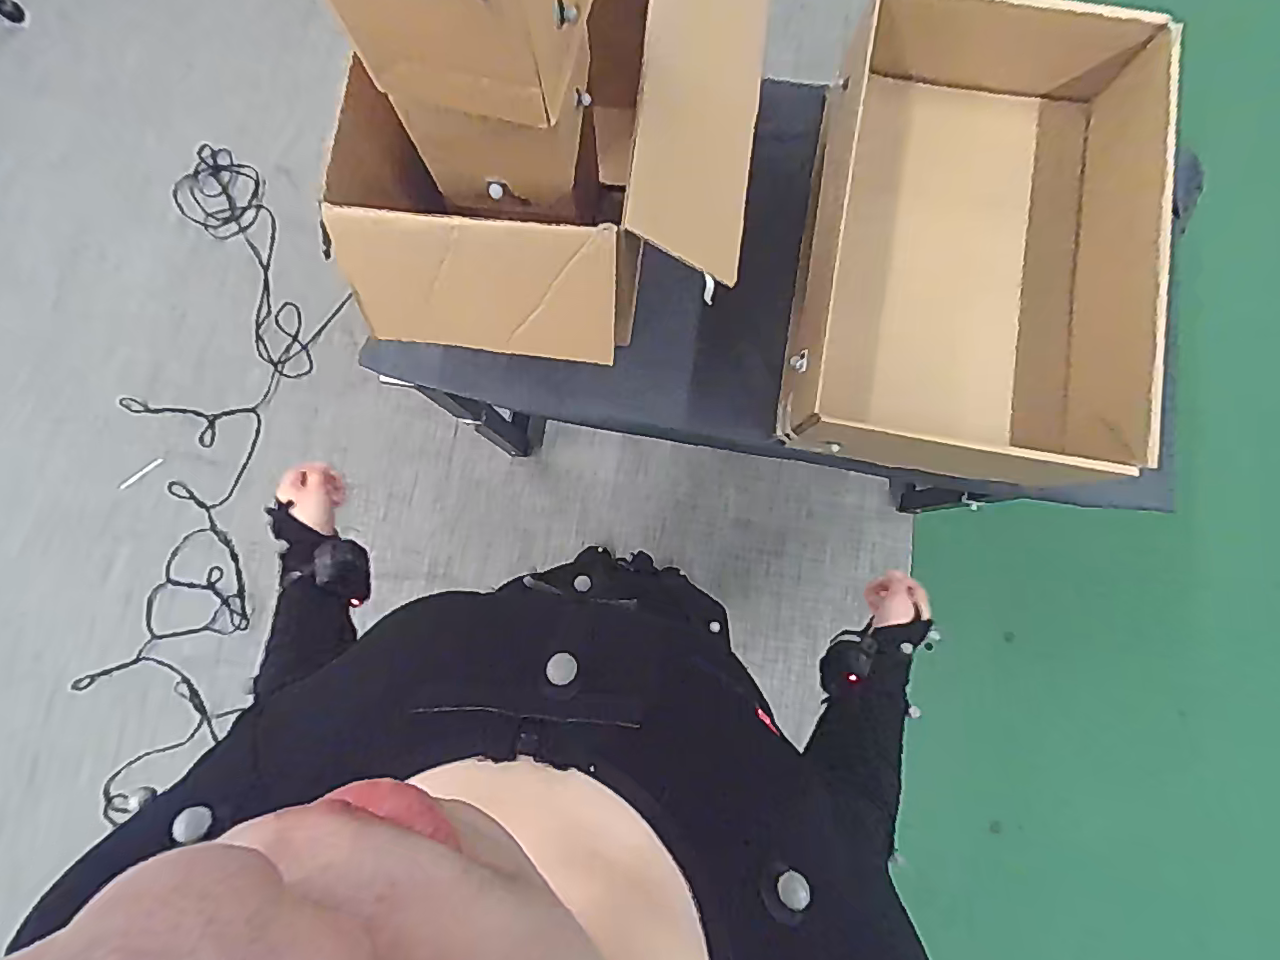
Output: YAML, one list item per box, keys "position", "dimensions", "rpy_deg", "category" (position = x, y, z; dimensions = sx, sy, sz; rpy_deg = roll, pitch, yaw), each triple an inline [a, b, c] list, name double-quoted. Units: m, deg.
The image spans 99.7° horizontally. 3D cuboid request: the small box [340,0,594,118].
- position: [-0.144, -0.438, 0.439]
  dimensions: [0.179, 0.176, 0.168]
  rpy_deg: [14, 84, 1]
  category: "small box"
